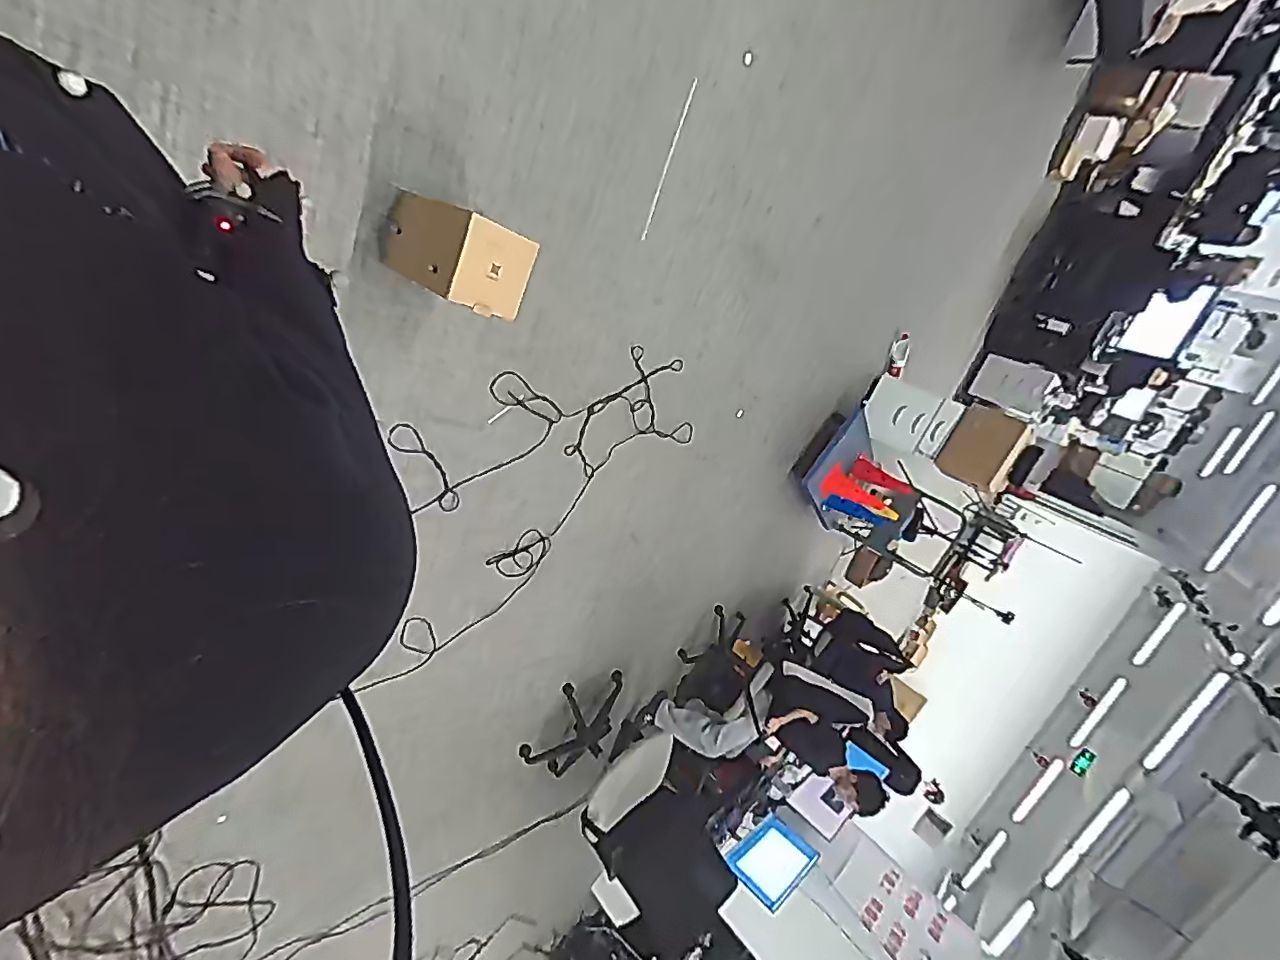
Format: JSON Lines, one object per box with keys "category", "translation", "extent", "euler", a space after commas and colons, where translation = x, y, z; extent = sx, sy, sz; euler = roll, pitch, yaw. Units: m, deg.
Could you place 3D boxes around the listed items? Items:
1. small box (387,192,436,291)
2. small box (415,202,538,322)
{"category": "small box", "translation": [-0.461, -0.533, 1.250], "extent": [0.168, 0.176, 0.179], "euler": [7, 113, -51]}
{"category": "small box", "translation": [-0.353, -0.462, 1.150], "extent": [0.168, 0.176, 0.179], "euler": [4, 113, -51]}
